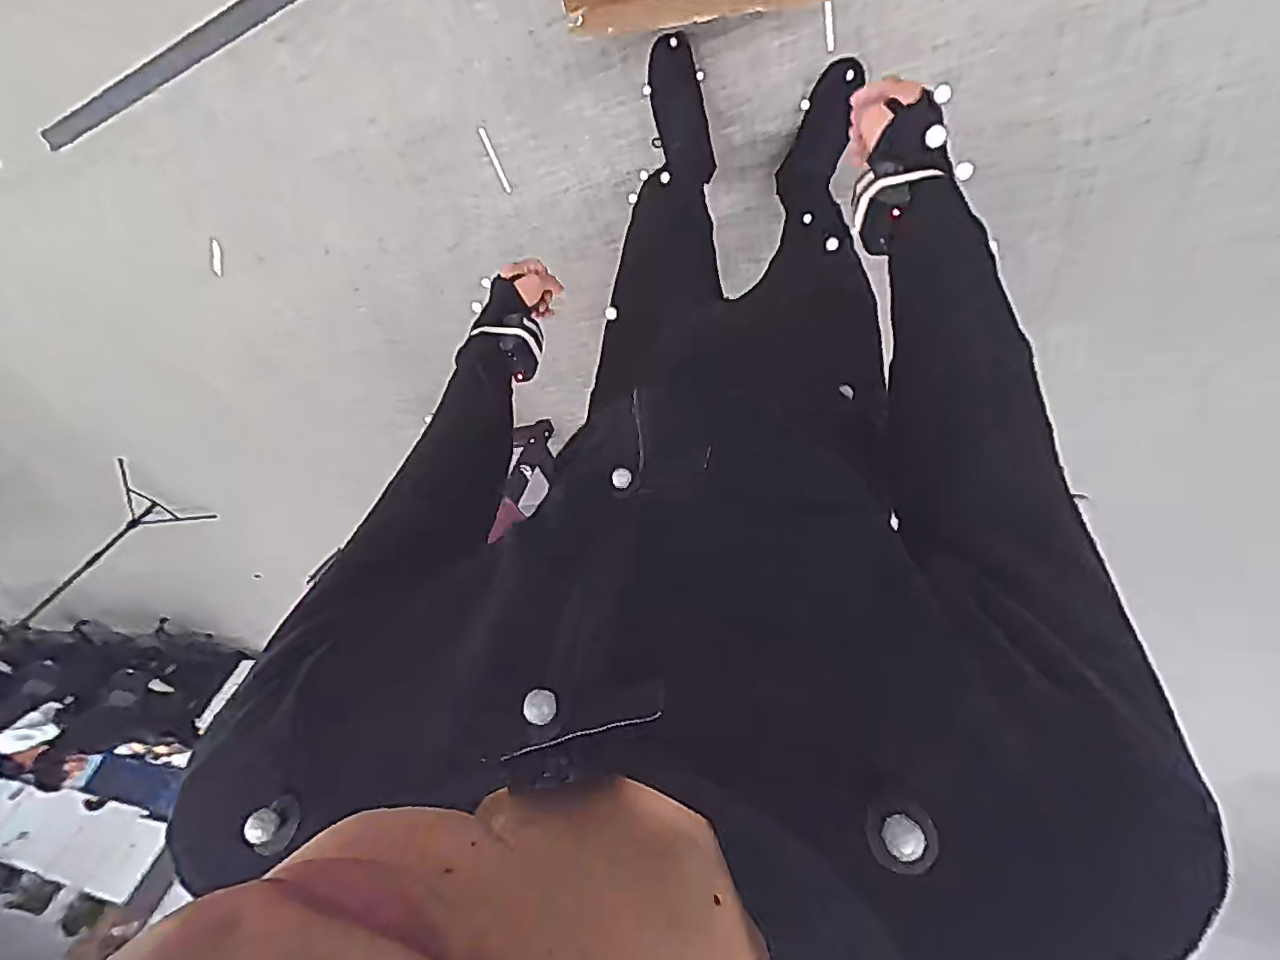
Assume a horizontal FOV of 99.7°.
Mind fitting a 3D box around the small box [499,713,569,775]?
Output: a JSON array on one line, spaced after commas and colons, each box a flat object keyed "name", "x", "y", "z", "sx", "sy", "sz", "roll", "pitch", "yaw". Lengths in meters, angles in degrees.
[{"name": "small box", "x": -0.398, "y": 1.003, "z": 2.064, "sx": 0.179, "sy": 0.176, "sz": 0.168, "roll": -14, "pitch": 130, "yaw": 28}]
